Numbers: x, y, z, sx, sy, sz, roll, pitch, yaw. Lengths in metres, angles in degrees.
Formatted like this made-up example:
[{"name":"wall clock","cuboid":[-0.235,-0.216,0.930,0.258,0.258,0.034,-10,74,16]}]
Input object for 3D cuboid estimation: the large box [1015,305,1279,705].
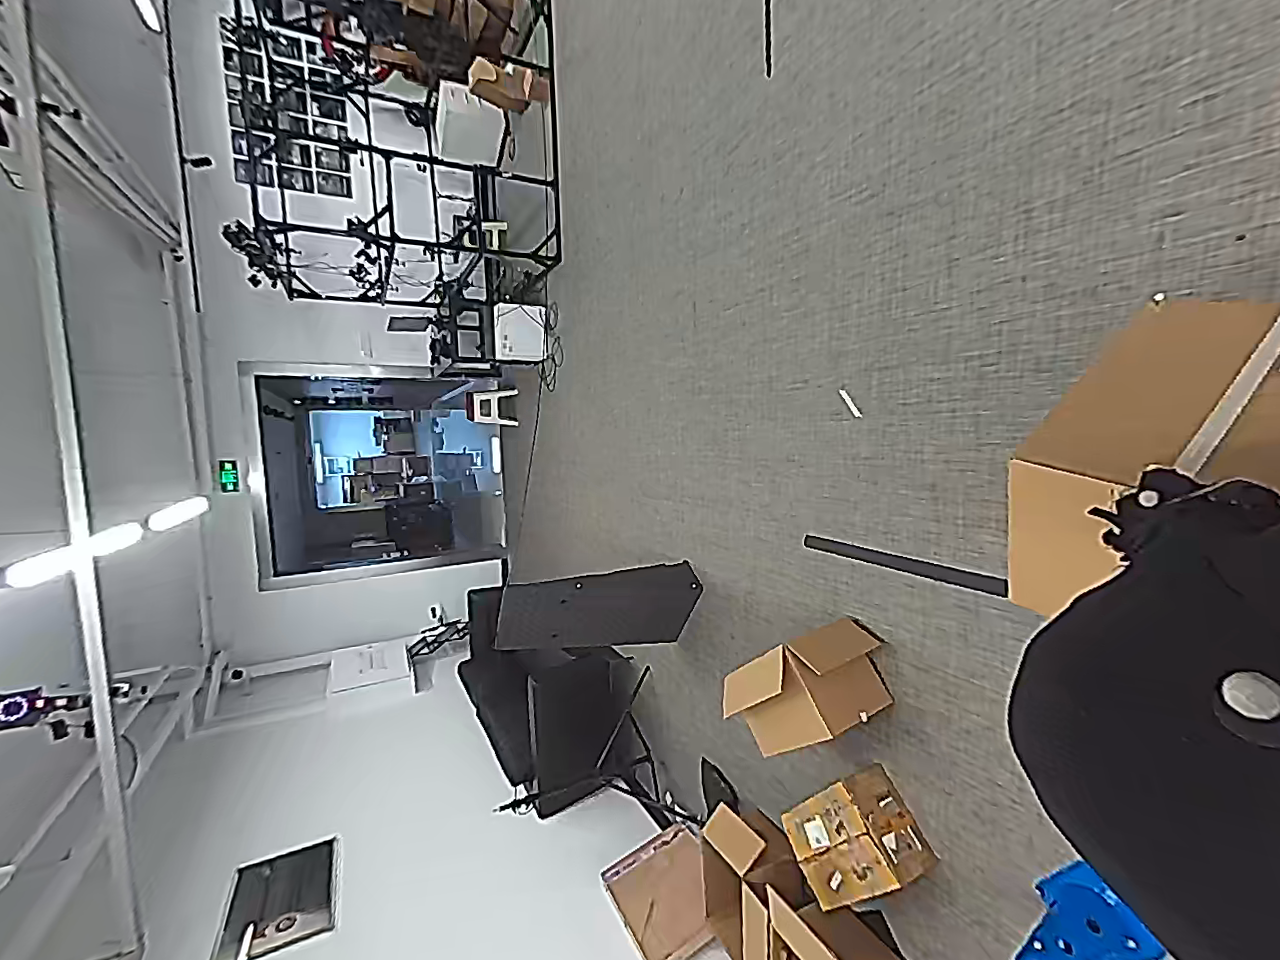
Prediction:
[{"name":"large box","cuboid":[0.779,0.007,0.738,0.320,0.408,0.320,29,152,51]}]
